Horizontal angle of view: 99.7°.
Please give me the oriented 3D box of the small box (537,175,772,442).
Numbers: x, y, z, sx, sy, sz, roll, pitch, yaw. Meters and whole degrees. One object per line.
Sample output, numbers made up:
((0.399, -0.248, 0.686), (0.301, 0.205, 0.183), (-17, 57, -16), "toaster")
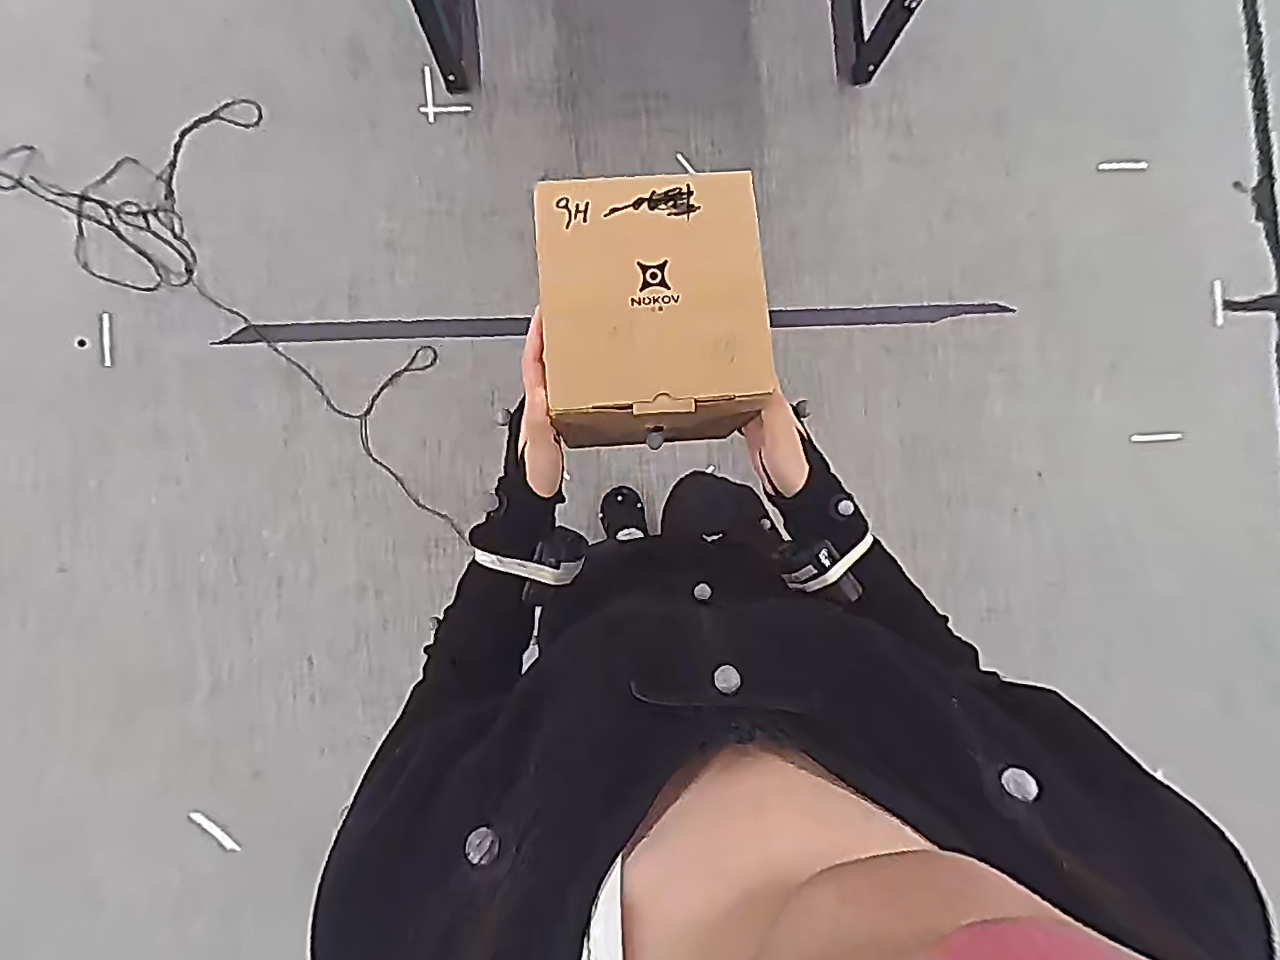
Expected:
((0.008, -0.130, 0.475), (0.168, 0.176, 0.179), (-4, 85, -2), "small box")
